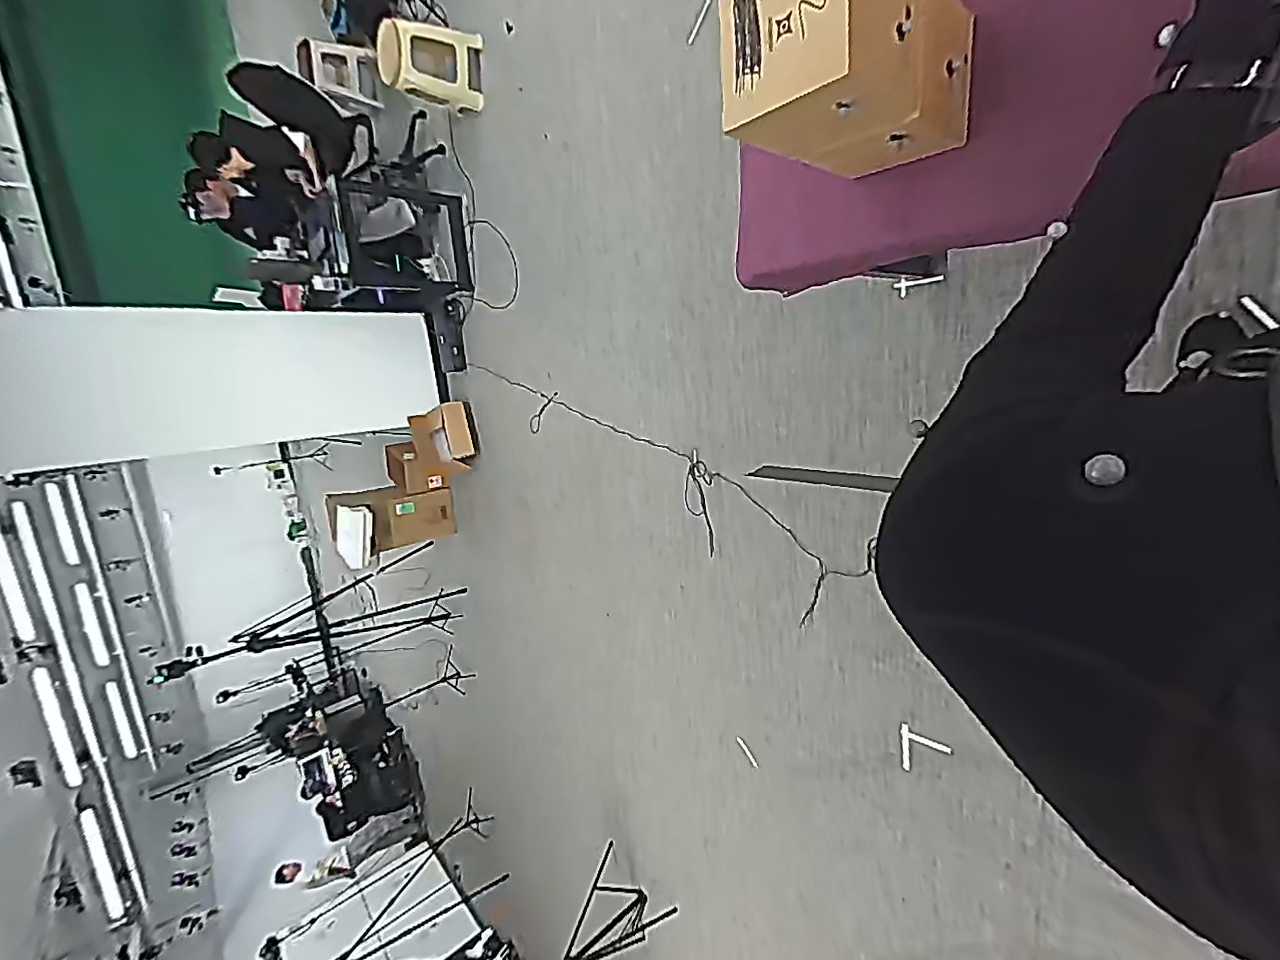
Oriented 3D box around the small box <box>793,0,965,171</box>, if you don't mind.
[{"bbox_3d":[0.340,-0.563,0.771,0.179,0.176,0.168,11,109,47],"label":"small box"}]
